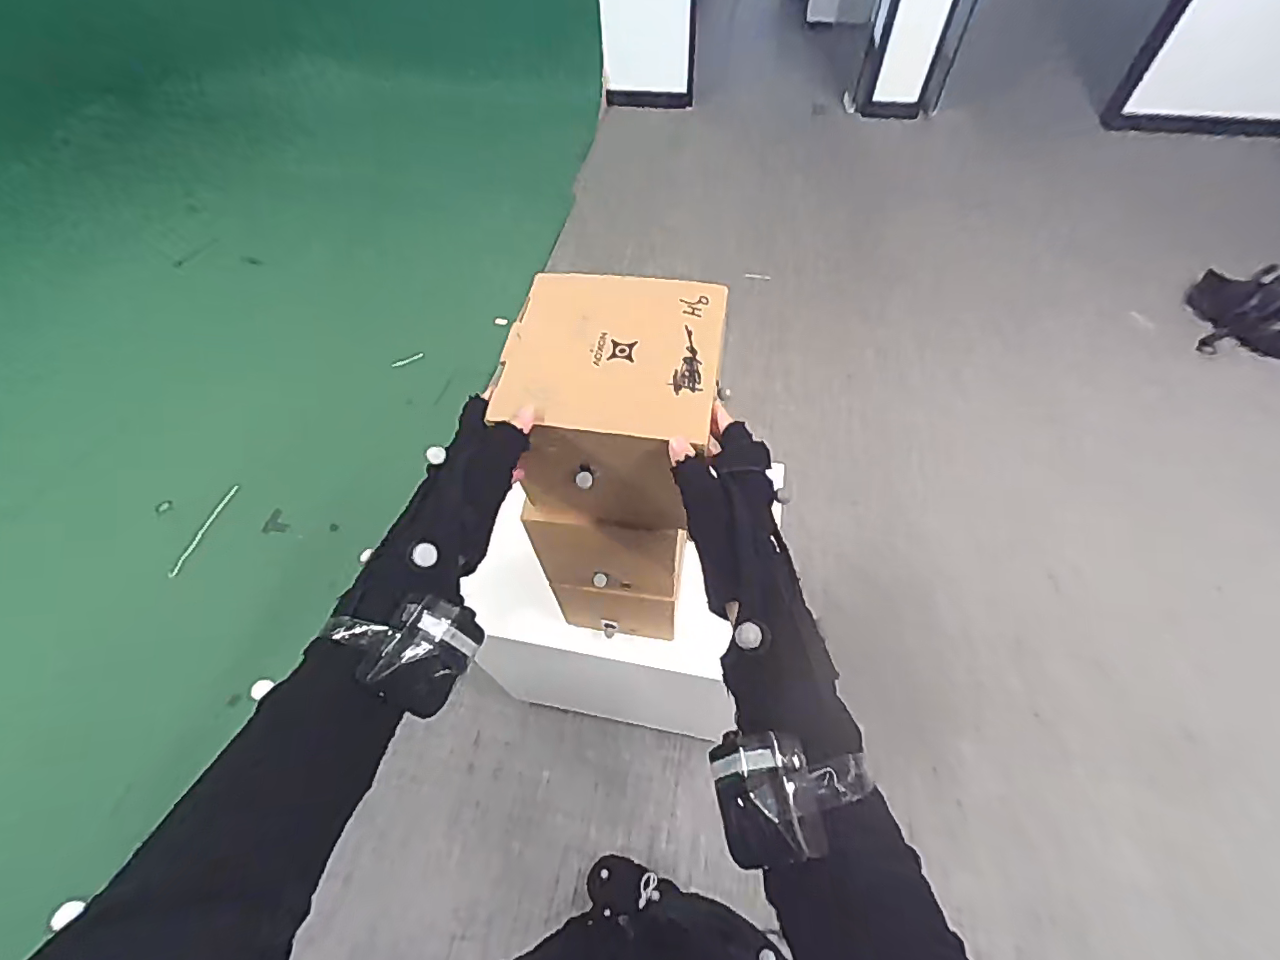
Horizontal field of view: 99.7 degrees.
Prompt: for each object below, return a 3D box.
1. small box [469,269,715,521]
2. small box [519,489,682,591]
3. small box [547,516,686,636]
[{"bbox_3d":[-0.027,-0.072,0.508,0.179,0.176,0.168,6,63,9],"label":"small box"},{"bbox_3d":[-0.033,0.015,0.657,0.168,0.176,0.179,3,56,5],"label":"small box"},{"bbox_3d":[-0.023,0.110,0.791,0.168,0.176,0.179,5,59,8],"label":"small box"}]
